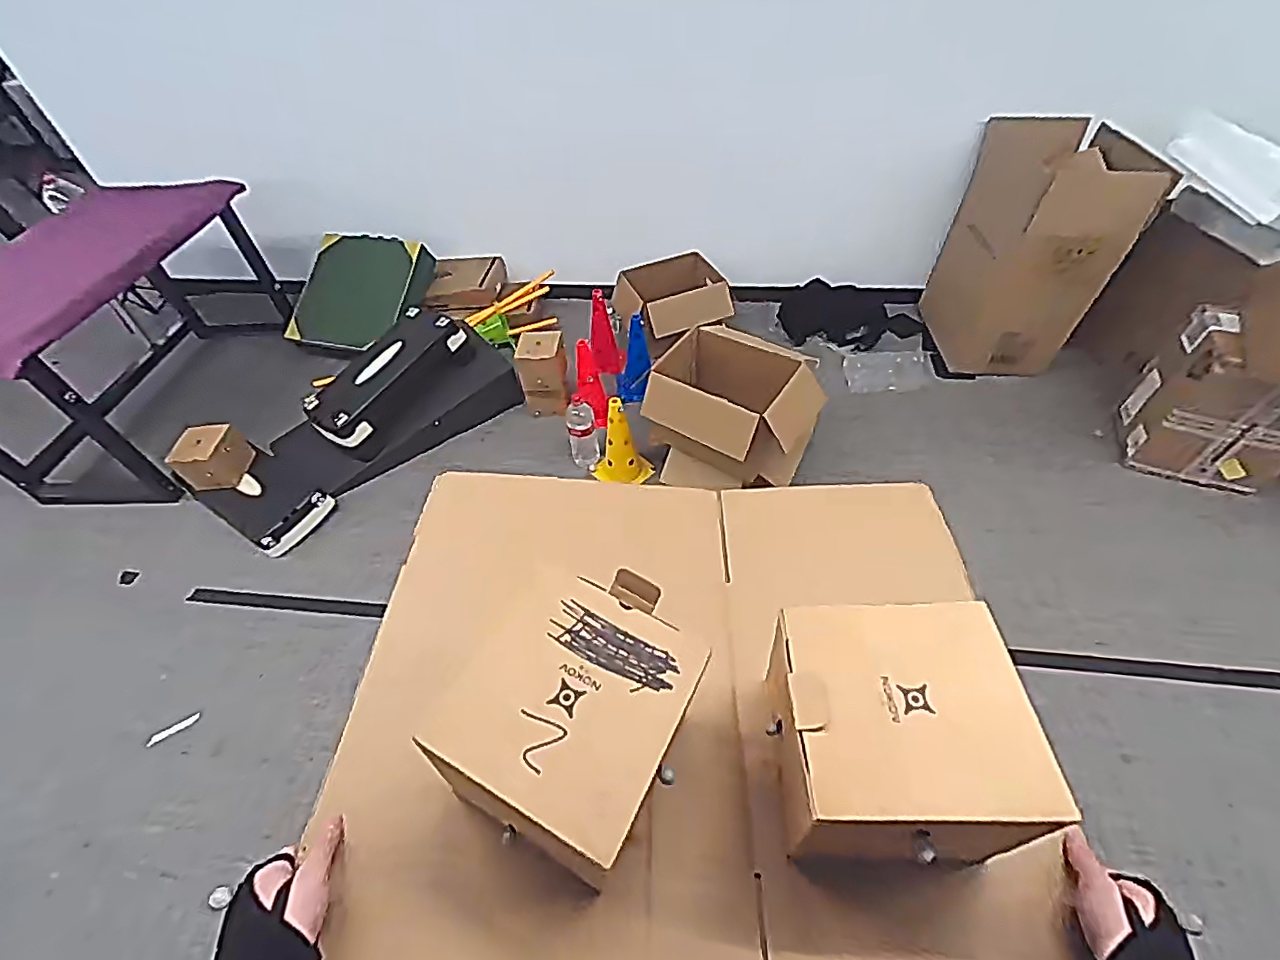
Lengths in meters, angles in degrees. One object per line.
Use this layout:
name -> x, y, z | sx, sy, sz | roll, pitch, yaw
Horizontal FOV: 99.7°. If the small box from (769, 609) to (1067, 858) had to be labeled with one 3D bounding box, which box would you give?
small box -> 0.221, 0.232, 0.492 | 0.179, 0.176, 0.168 | -3, 48, 5
